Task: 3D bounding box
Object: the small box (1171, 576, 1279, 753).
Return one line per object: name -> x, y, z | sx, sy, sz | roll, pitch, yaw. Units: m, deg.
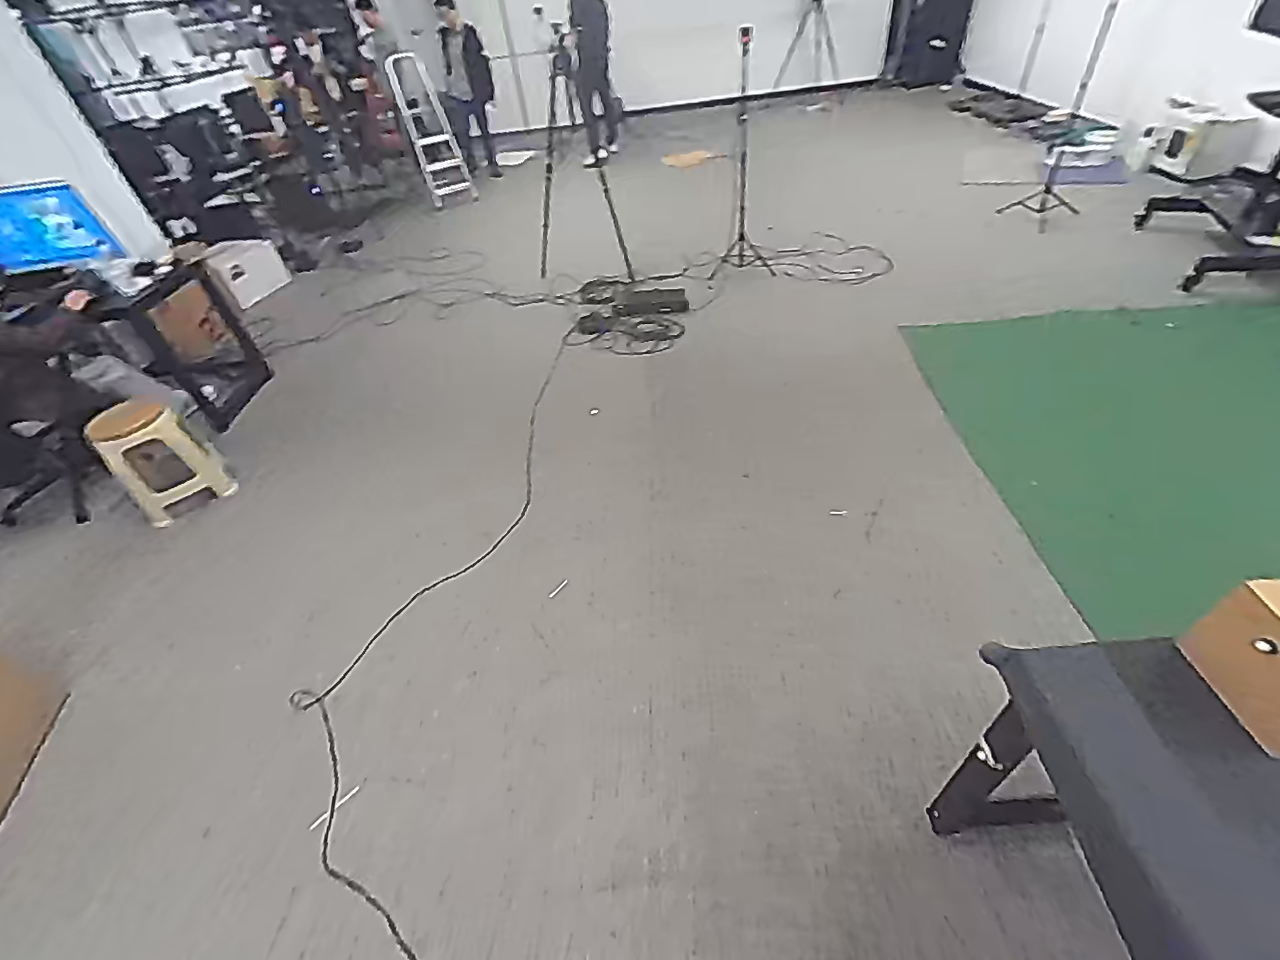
small box -> 0.915, 0.250, 0.747 | 0.168, 0.176, 0.179 | -6, 43, 0
